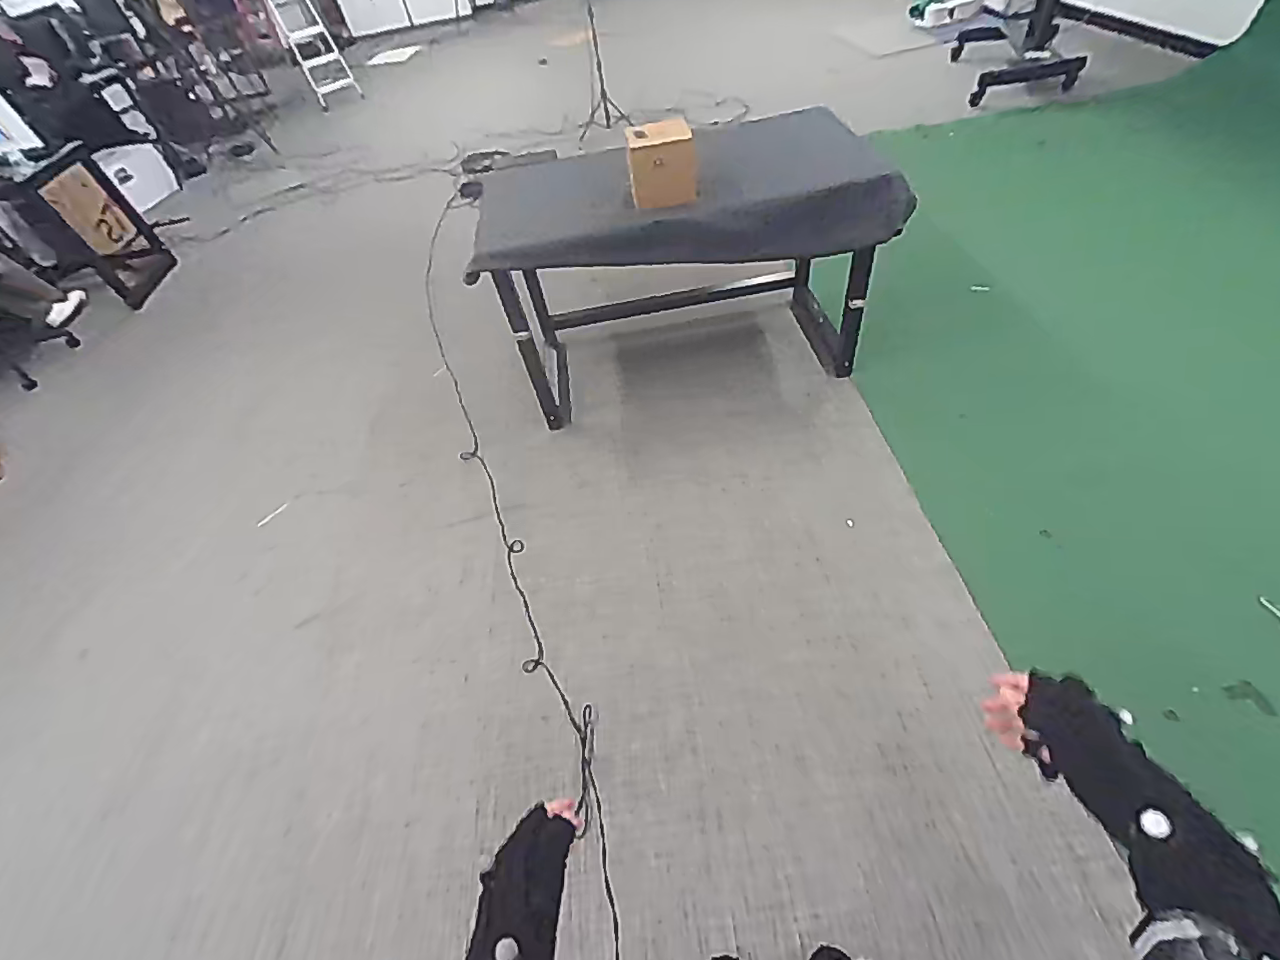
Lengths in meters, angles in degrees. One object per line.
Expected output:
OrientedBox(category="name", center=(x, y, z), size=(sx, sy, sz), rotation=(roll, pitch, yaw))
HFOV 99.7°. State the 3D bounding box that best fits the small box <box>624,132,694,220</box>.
OrientedBox(category="small box", center=(0.057, -0.879, 1.573), size=(0.179, 0.176, 0.168), rotation=(-9, 50, 2))
